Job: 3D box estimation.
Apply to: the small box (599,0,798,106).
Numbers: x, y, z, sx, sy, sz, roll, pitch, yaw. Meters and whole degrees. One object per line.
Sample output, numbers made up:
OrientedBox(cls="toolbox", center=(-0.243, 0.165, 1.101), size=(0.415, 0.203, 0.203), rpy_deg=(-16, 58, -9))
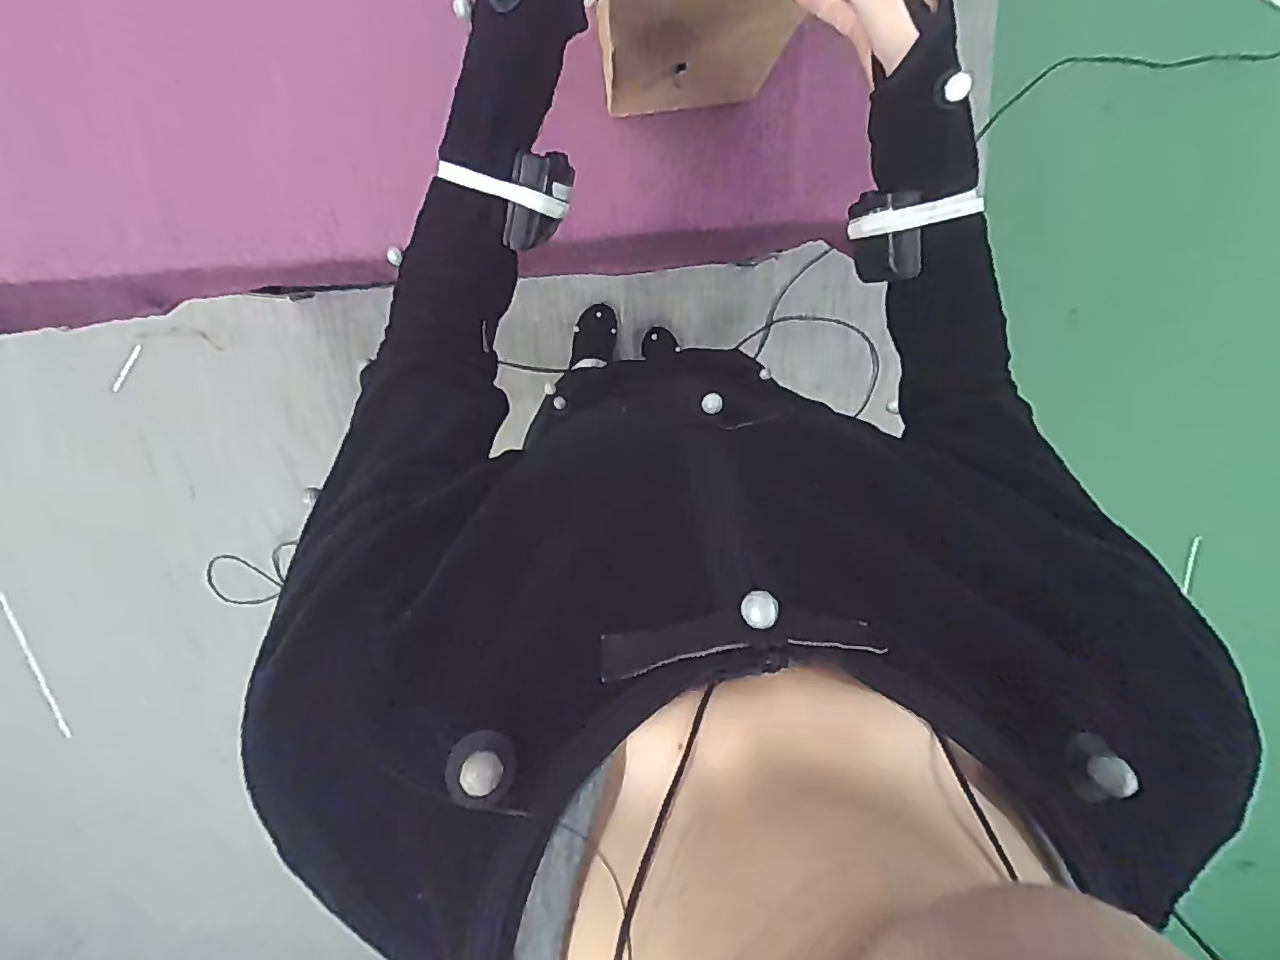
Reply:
OrientedBox(cls="small box", center=(0.045, -0.507, 0.543), size=(0.179, 0.176, 0.168), rpy_deg=(-7, 104, -1))

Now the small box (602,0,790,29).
OrientedBox(cls="small box", center=(0.053, -0.465, 0.384), size=(0.179, 0.176, 0.168), rpy_deg=(-6, 103, -1))
